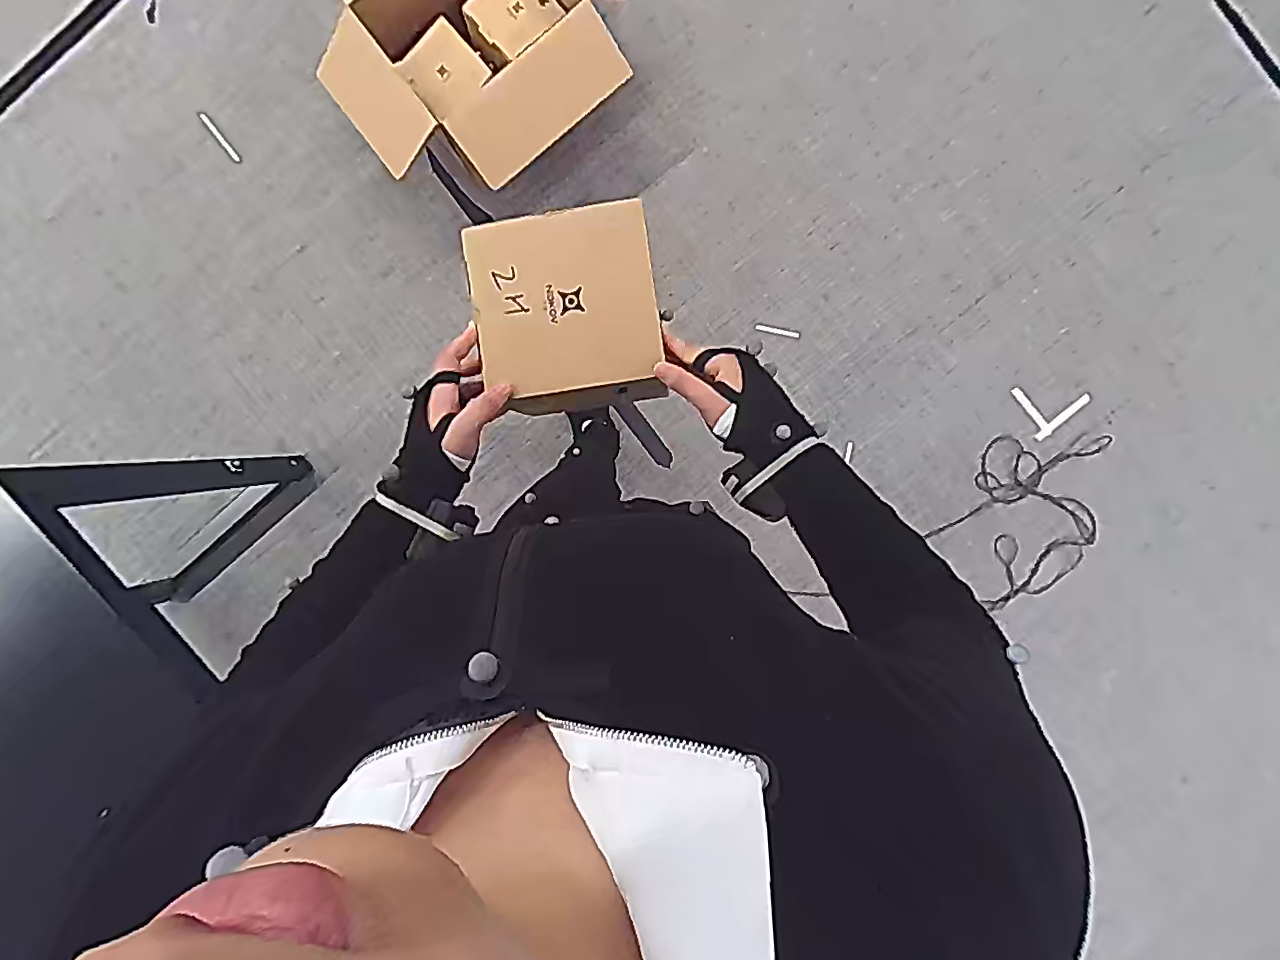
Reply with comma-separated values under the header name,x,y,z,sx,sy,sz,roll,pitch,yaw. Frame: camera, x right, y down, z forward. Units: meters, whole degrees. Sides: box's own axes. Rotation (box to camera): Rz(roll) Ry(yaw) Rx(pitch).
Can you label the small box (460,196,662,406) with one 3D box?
name,x,y,z,sx,sy,sz,roll,pitch,yaw
small box,-0.071,-0.177,0.586,0.179,0.176,0.168,-7,92,4
